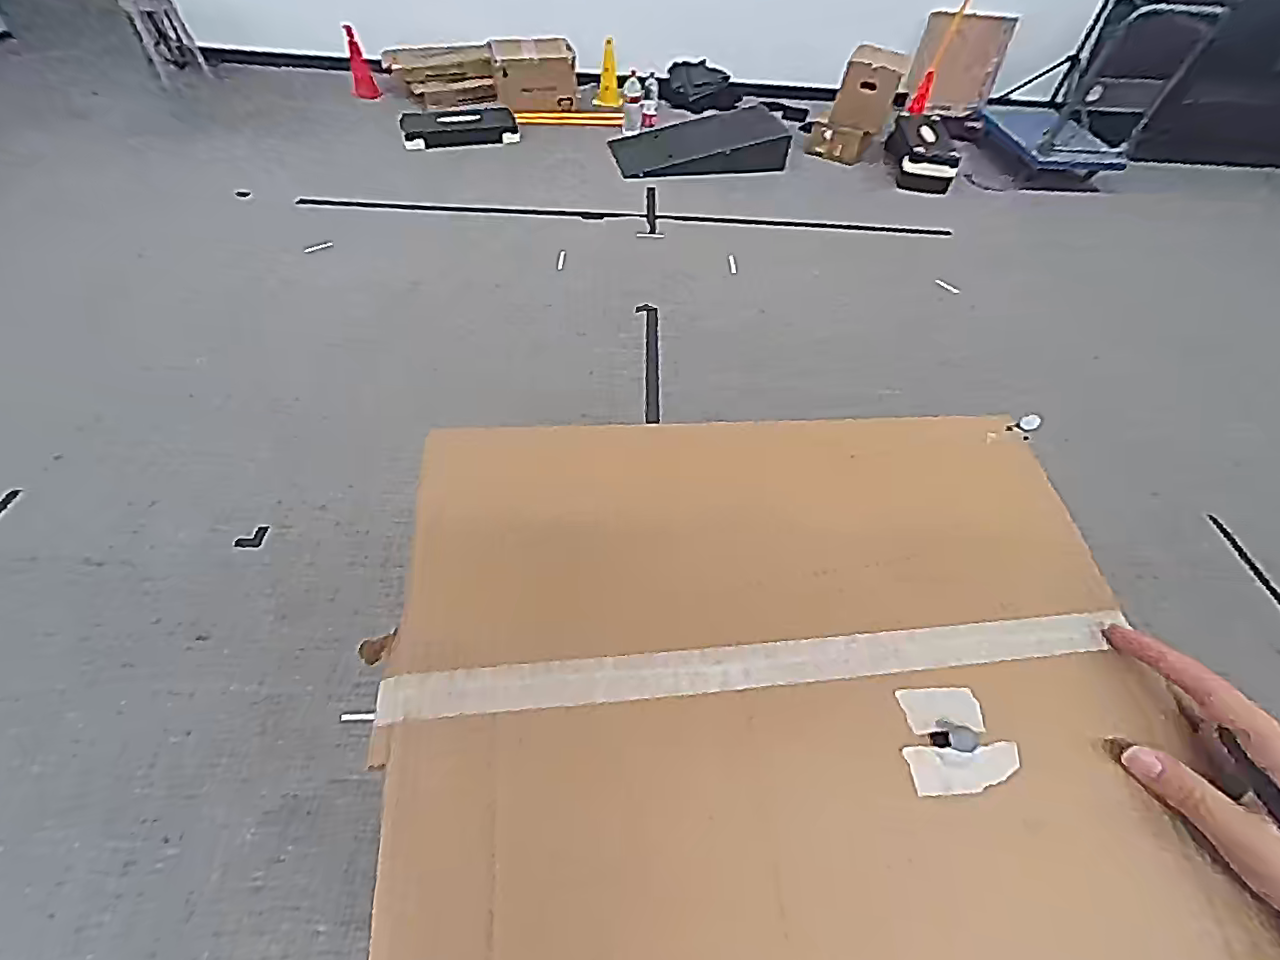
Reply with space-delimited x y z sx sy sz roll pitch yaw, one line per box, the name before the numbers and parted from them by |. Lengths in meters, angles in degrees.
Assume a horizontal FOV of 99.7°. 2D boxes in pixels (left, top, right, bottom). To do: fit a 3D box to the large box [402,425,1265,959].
large box | 0.068 0.173 0.425 0.408 0.320 0.320 -2 60 -9
